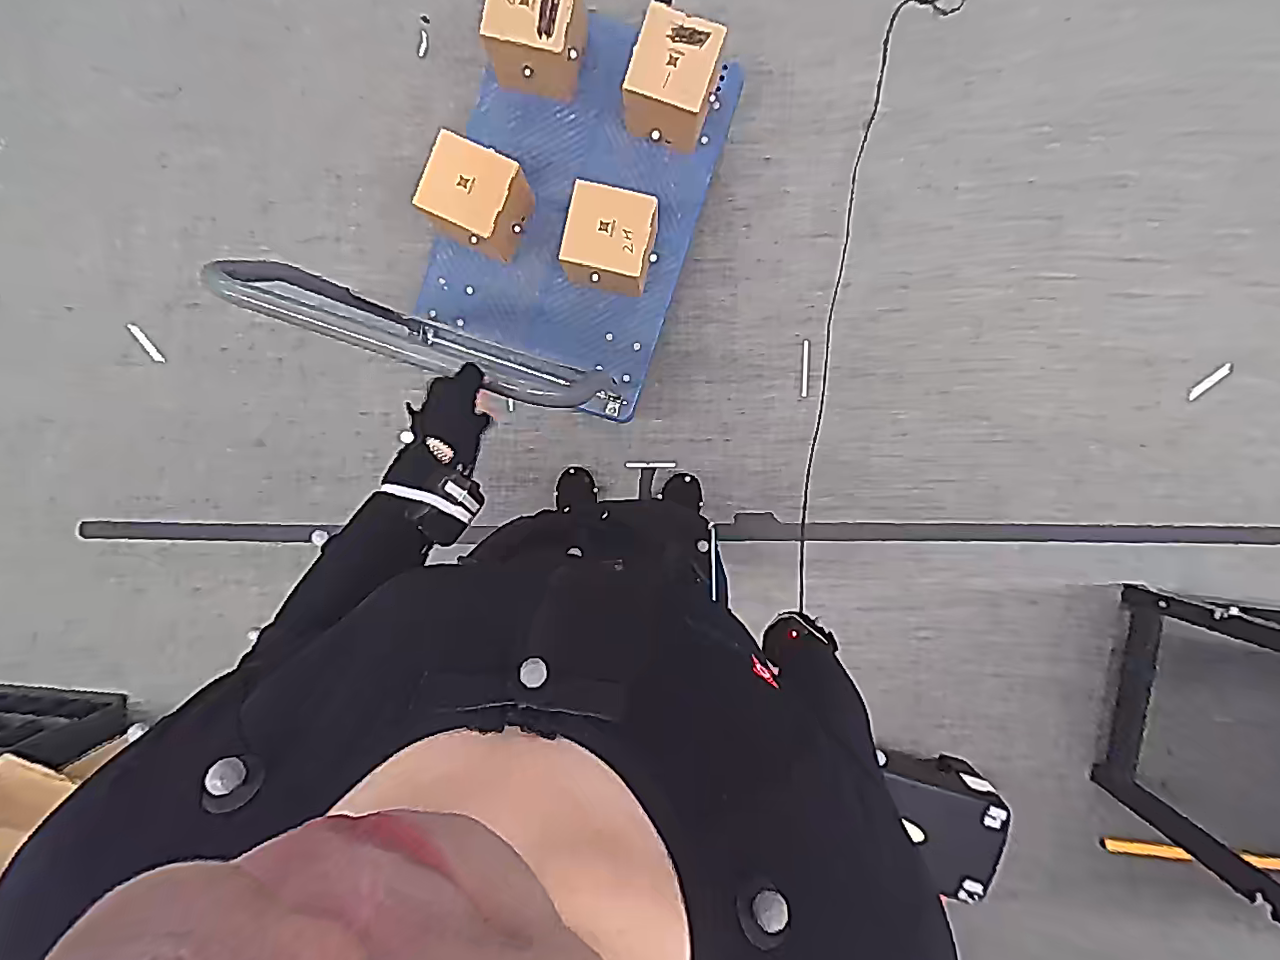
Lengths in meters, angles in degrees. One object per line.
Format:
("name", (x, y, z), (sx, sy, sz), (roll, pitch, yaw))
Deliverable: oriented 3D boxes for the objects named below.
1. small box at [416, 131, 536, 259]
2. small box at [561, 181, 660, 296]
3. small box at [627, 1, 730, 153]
("small box", (-0.352, -0.615, 1.191), (0.179, 0.176, 0.168), (23, 95, -1))
("small box", (-0.059, -0.521, 1.190), (0.179, 0.176, 0.168), (14, 95, 0))
("small box", (0.077, -0.852, 1.162), (0.168, 0.176, 0.179), (20, 96, 0))
